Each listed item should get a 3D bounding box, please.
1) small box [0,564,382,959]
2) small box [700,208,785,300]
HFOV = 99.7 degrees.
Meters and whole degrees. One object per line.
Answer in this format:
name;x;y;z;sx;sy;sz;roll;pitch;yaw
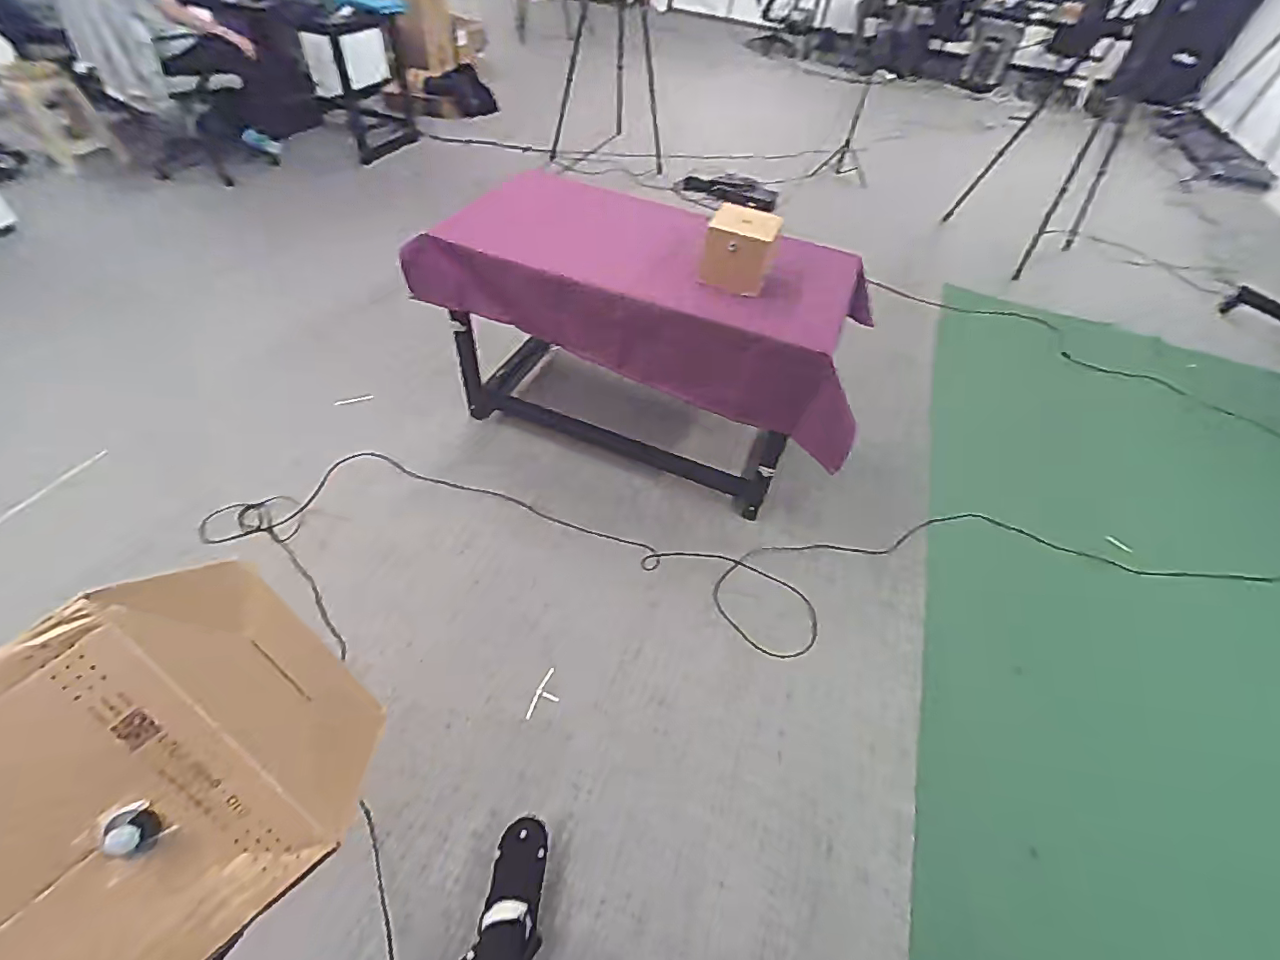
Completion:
small box;-0.280;0.169;0.321;0.176;0.179;0.168;-41;100;-16
small box;0.280;-0.628;1.506;0.179;0.176;0.168;21;50;11
